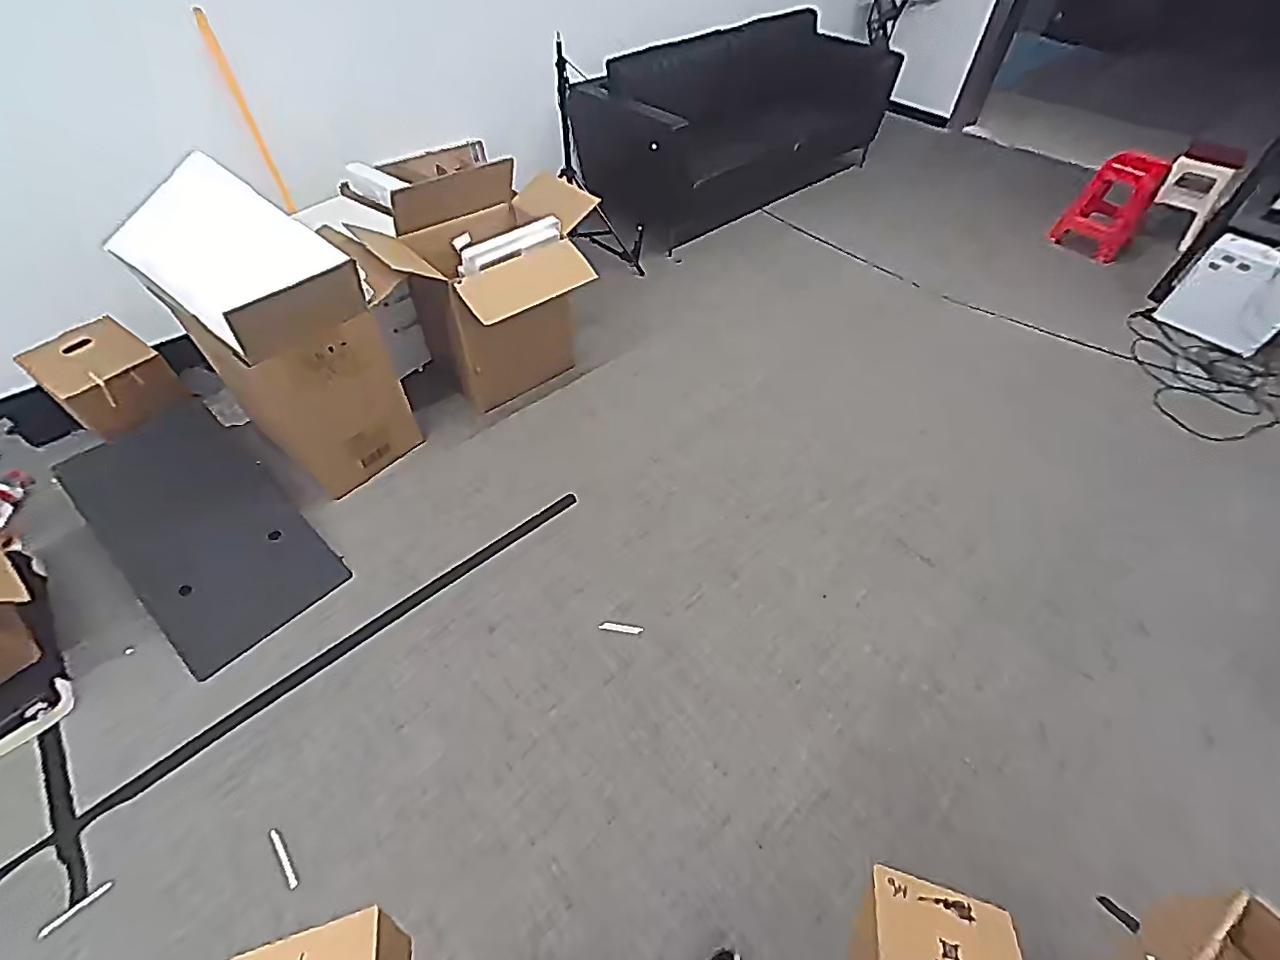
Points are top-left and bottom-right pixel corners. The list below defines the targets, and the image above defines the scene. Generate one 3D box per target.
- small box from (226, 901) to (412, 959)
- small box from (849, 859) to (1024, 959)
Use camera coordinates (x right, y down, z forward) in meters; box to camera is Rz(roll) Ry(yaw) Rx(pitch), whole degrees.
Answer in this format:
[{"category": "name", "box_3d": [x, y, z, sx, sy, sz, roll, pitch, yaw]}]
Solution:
[{"category": "small box", "box_3d": [-0.366, 0.635, 0.620, 0.168, 0.176, 0.179, -10, 39, -16]}, {"category": "small box", "box_3d": [0.356, 0.629, 0.659, 0.168, 0.176, 0.179, 12, 23, 17]}]
